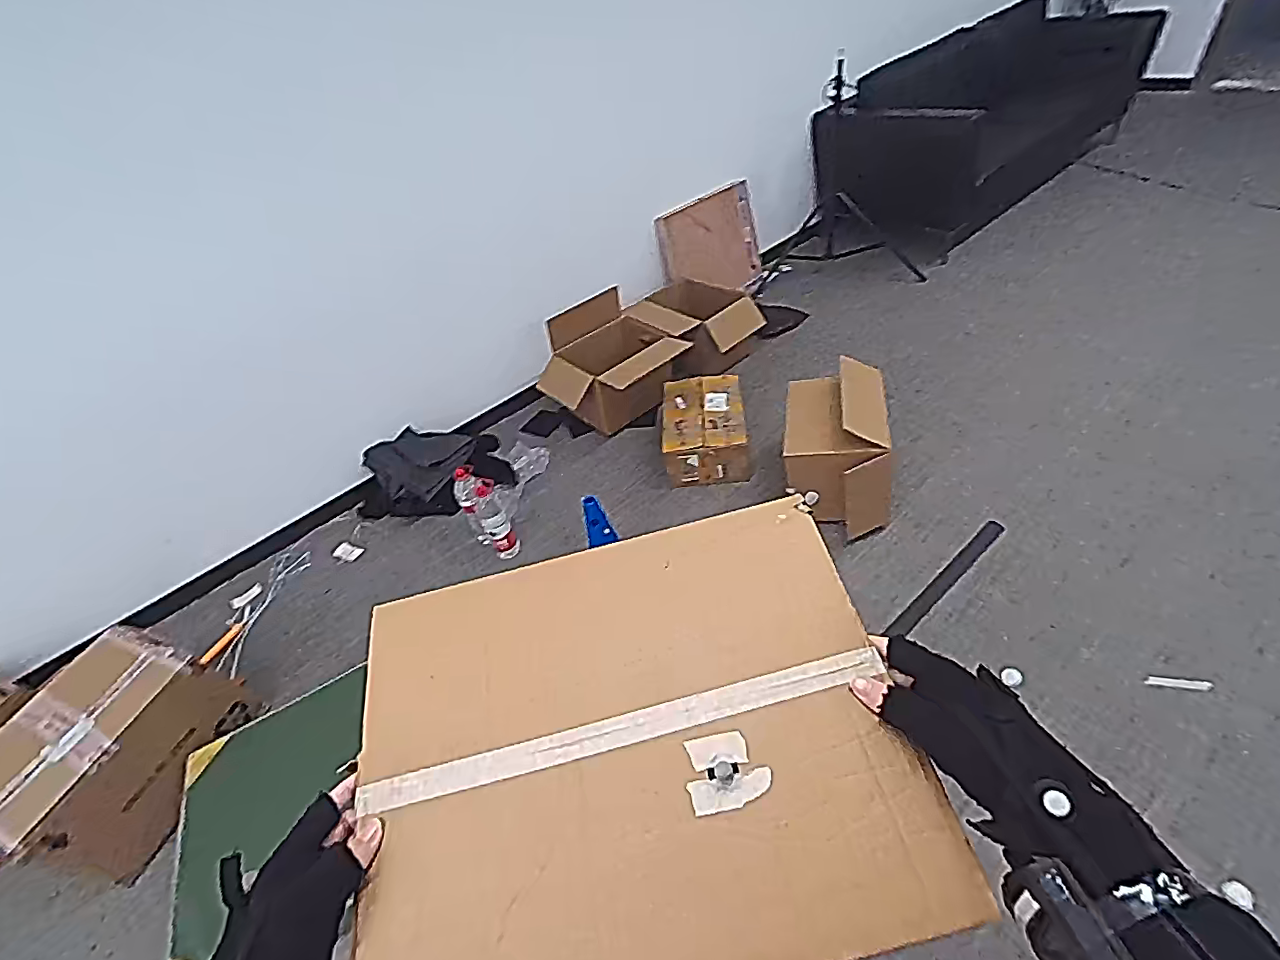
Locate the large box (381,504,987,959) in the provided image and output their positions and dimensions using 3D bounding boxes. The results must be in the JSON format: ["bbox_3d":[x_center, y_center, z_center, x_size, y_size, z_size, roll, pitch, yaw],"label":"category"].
[{"bbox_3d":[0.016,0.277,0.541,0.408,0.320,0.320,-15,56,-1],"label":"large box"}]
